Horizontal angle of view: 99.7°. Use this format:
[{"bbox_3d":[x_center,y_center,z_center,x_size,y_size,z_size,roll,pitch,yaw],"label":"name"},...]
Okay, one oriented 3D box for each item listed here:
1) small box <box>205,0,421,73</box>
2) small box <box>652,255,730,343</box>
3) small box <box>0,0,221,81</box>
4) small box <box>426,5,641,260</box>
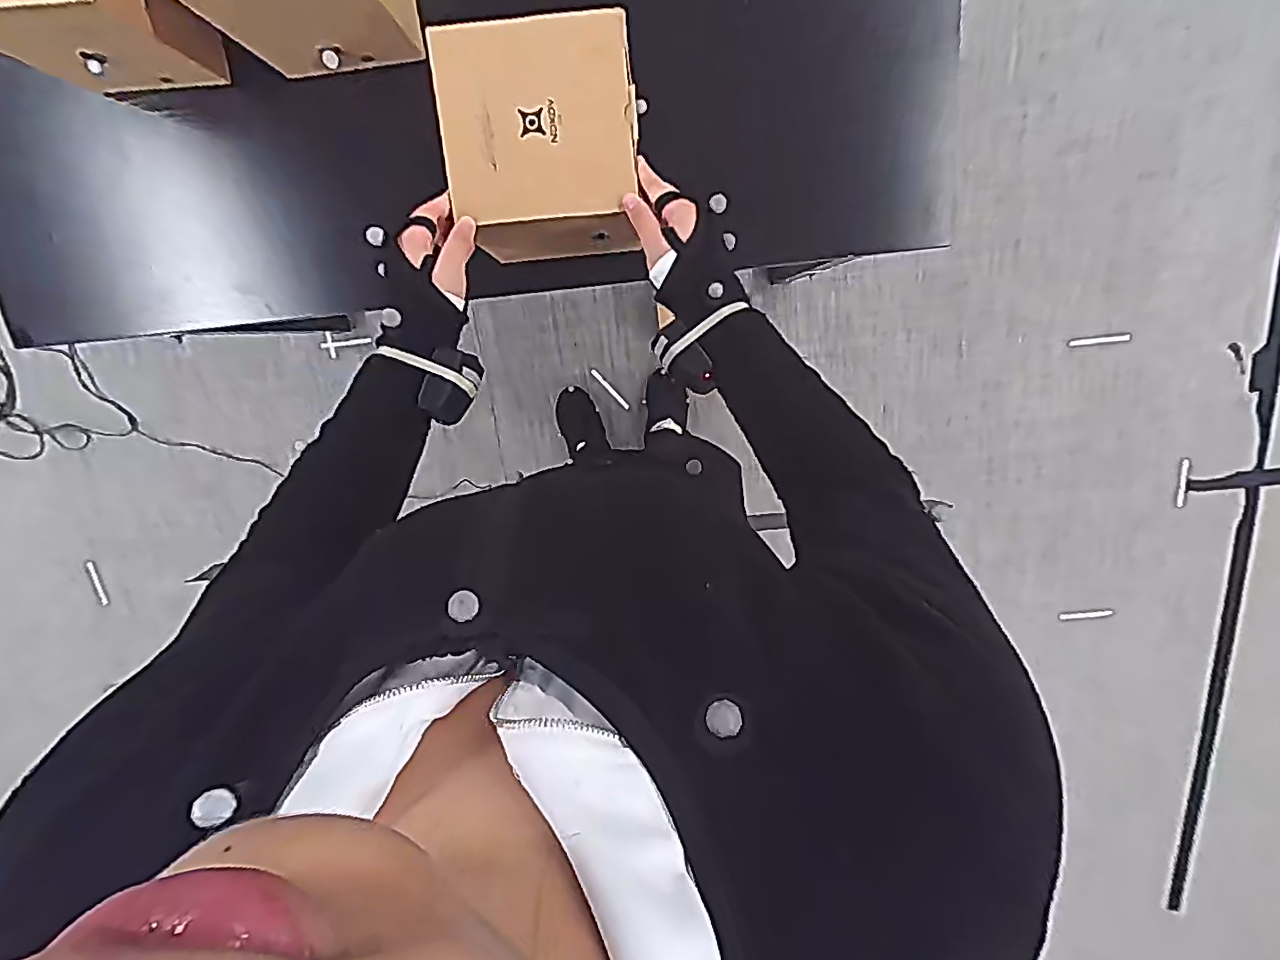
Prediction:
[{"bbox_3d":[-0.336,-0.537,0.520,0.168,0.176,0.179,-6,106,2],"label":"small box"},{"bbox_3d":[0.118,-0.428,1.300,0.168,0.176,0.179,-6,105,3],"label":"small box"},{"bbox_3d":[-0.560,-0.519,0.526,0.168,0.176,0.179,-3,105,0],"label":"small box"},{"bbox_3d":[-0.093,-0.337,0.560,0.179,0.176,0.168,-6,100,2],"label":"small box"}]
